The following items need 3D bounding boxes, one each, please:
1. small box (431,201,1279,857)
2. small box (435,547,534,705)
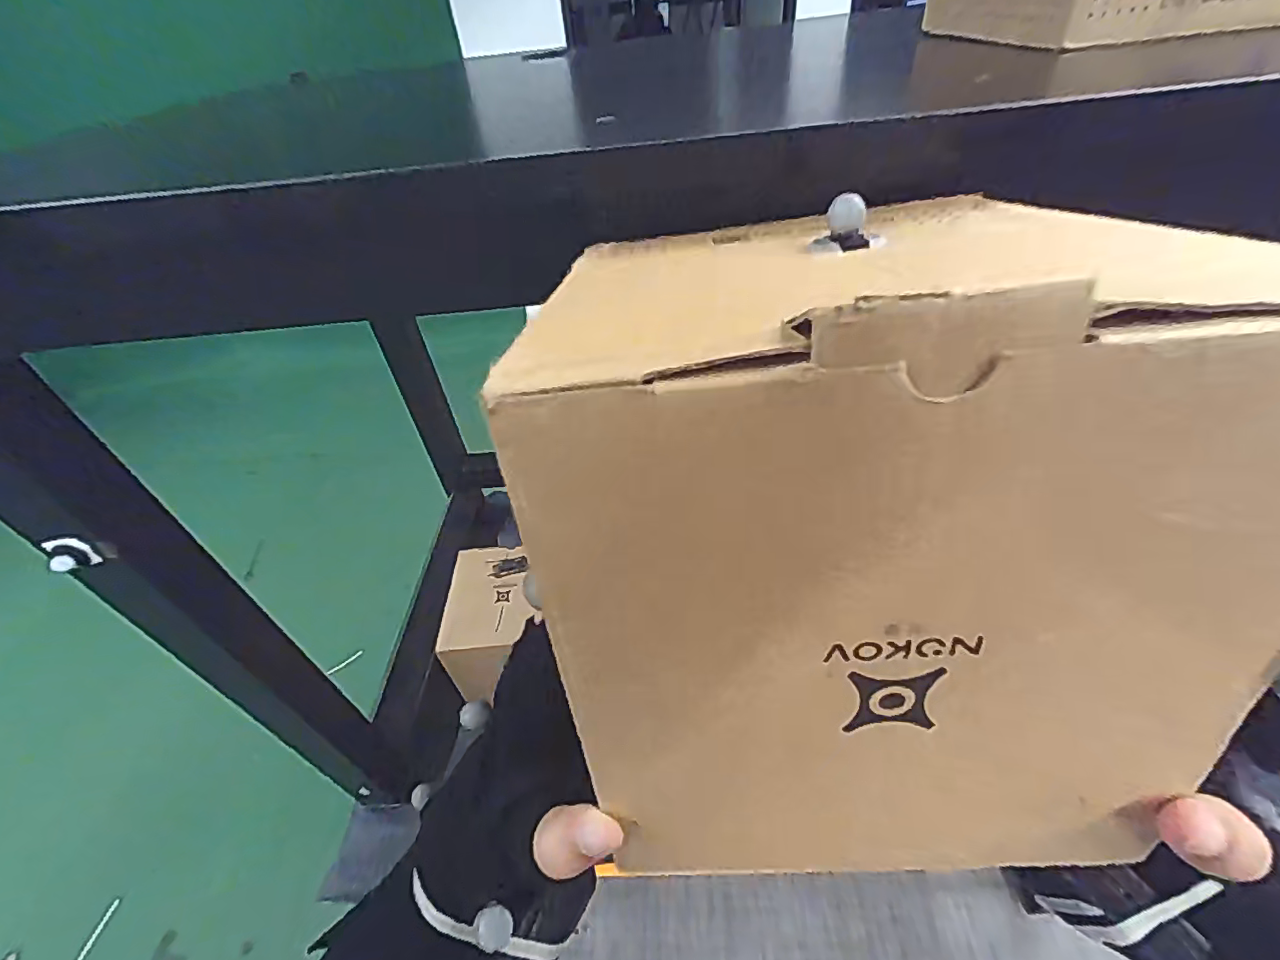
[{"bbox_3d":[0.056,0.007,0.204,0.168,0.179,0.176,-6,30,7],"label":"small box"},{"bbox_3d":[-0.185,0.216,0.821,0.168,0.176,0.179,-6,42,2],"label":"small box"}]
